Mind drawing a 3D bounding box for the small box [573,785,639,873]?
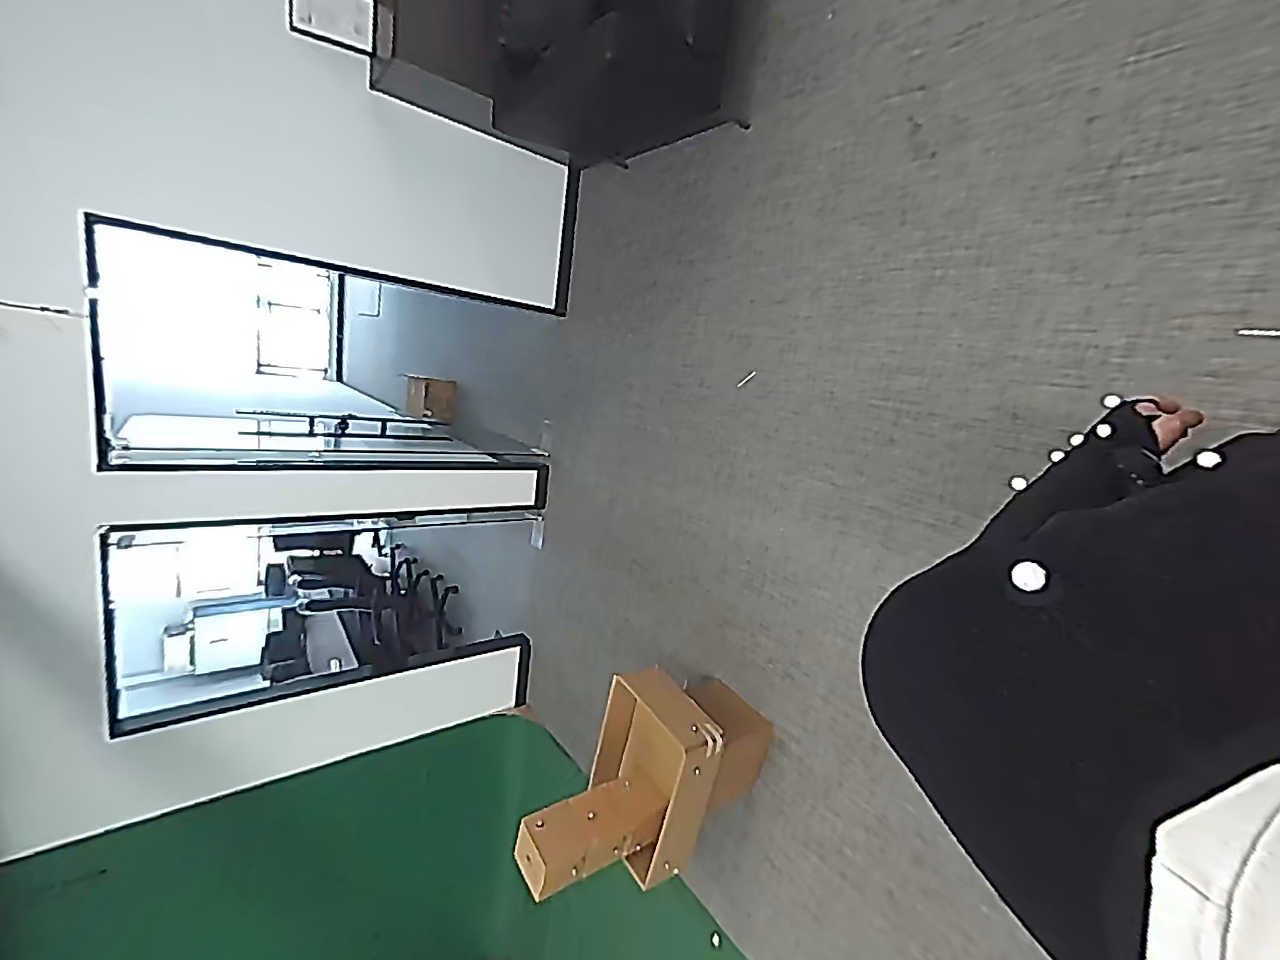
[{"bbox_3d":[-0.131,1.191,1.867,0.179,0.176,0.168,32,116,45],"label":"small box"}]

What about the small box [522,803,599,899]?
[{"bbox_3d":[-0.261,1.196,1.766,0.179,0.176,0.168,33,117,44],"label":"small box"}]
